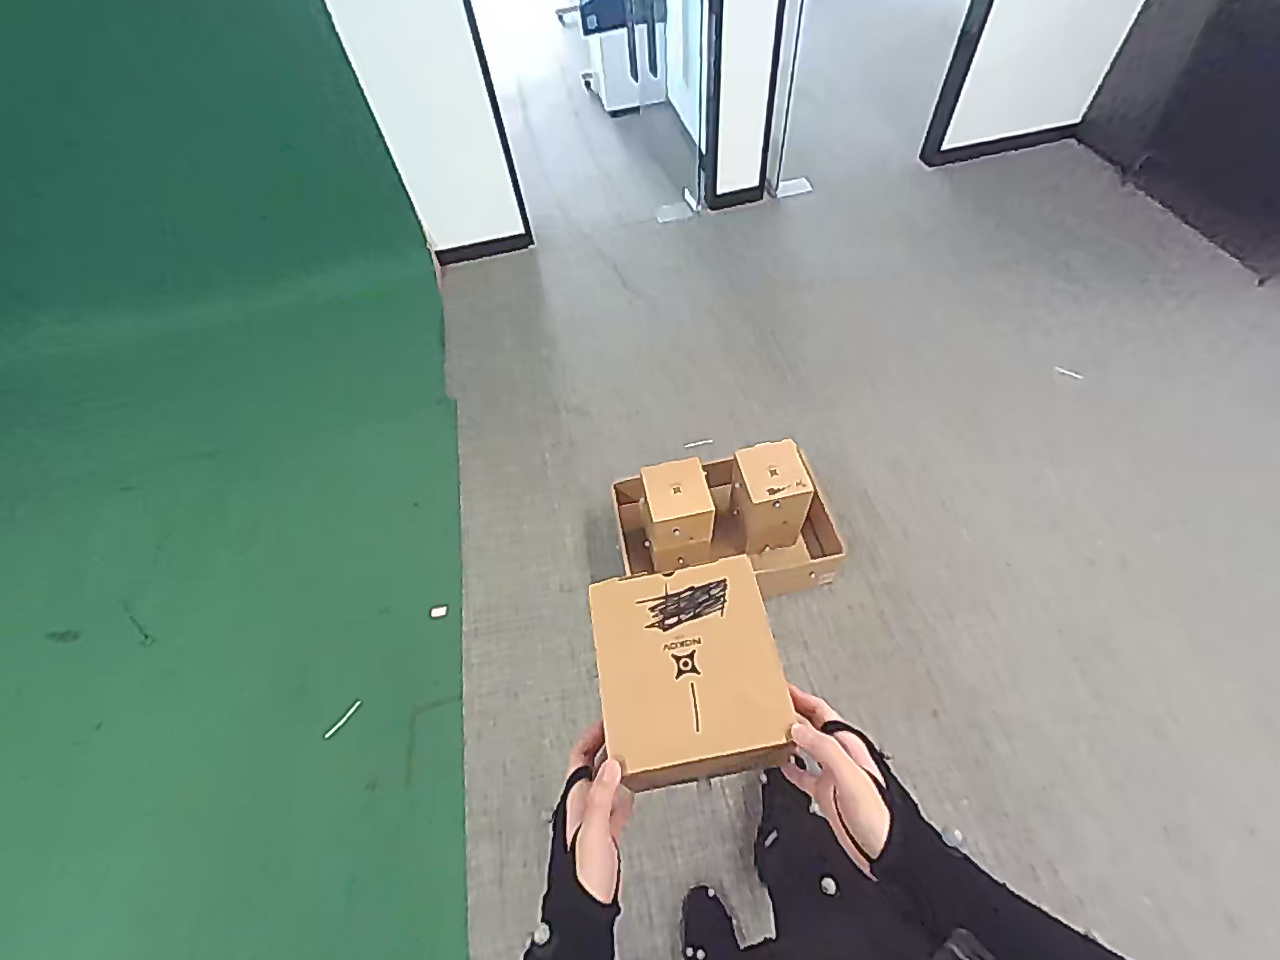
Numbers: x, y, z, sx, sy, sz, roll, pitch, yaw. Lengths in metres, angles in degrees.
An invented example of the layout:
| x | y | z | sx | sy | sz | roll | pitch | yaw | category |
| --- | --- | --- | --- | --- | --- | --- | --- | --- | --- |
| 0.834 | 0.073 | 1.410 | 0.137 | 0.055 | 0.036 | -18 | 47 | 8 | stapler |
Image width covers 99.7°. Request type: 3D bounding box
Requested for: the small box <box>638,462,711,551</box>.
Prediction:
| x | y | z | sx | sy | sz | roll | pitch | yaw | category |
| --- | --- | --- | --- | --- | --- | --- | --- | --- | --- |
| 0.095 | 0.081 | 1.486 | 0.168 | 0.176 | 0.179 | -11 | 56 | -4 | small box |

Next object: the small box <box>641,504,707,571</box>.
| x | y | z | sx | sy | sz | roll | pitch | yaw | category |
| --- | --- | --- | --- | --- | --- | --- | --- | --- | --- |
| 0.101 | 0.171 | 1.620 | 0.168 | 0.176 | 0.179 | -10 | 56 | -3 | small box |

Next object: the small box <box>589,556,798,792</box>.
| x | y | z | sx | sy | sz | roll | pitch | yaw | category |
| --- | --- | --- | --- | --- | --- | --- | --- | --- | --- |
| 0.047 | 0.203 | 0.557 | 0.168 | 0.176 | 0.179 | -11 | 55 | 0 | small box |

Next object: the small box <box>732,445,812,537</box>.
| x | y | z | sx | sy | sz | roll | pitch | yaw | category |
| --- | --- | --- | --- | --- | --- | --- | --- | --- | --- |
| 0.356 | 0.033 | 1.498 | 0.168 | 0.176 | 0.179 | -12 | 55 | -1 | small box |
